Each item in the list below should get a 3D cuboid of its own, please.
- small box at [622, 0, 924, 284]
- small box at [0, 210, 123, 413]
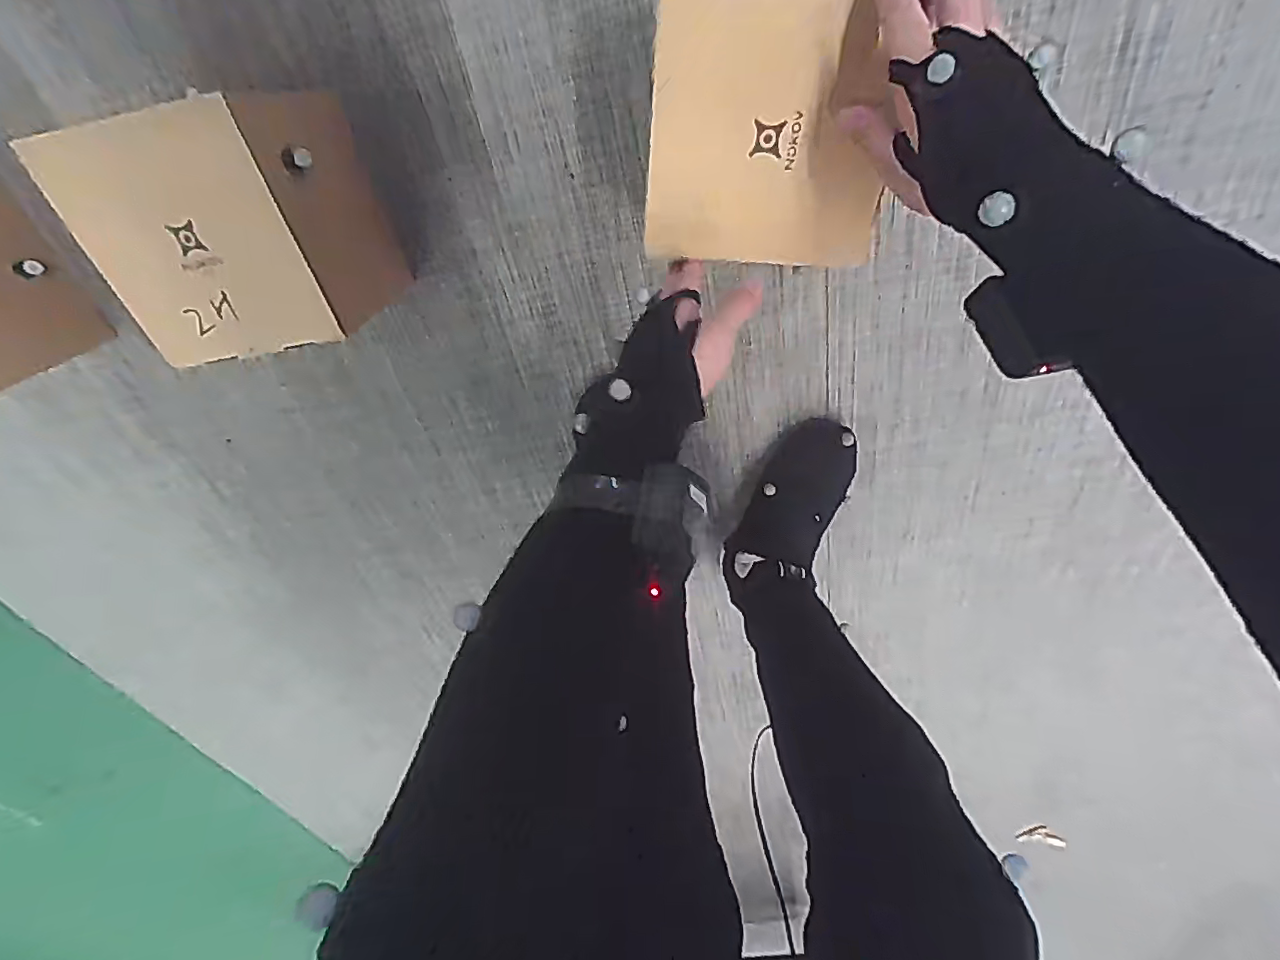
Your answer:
[{"bbox_3d":[0.083,-0.277,0.443,0.179,0.176,0.168,6,126,-4],"label":"small box"},{"bbox_3d":[-0.699,-0.162,0.535,0.168,0.176,0.179,-9,124,8],"label":"small box"}]
